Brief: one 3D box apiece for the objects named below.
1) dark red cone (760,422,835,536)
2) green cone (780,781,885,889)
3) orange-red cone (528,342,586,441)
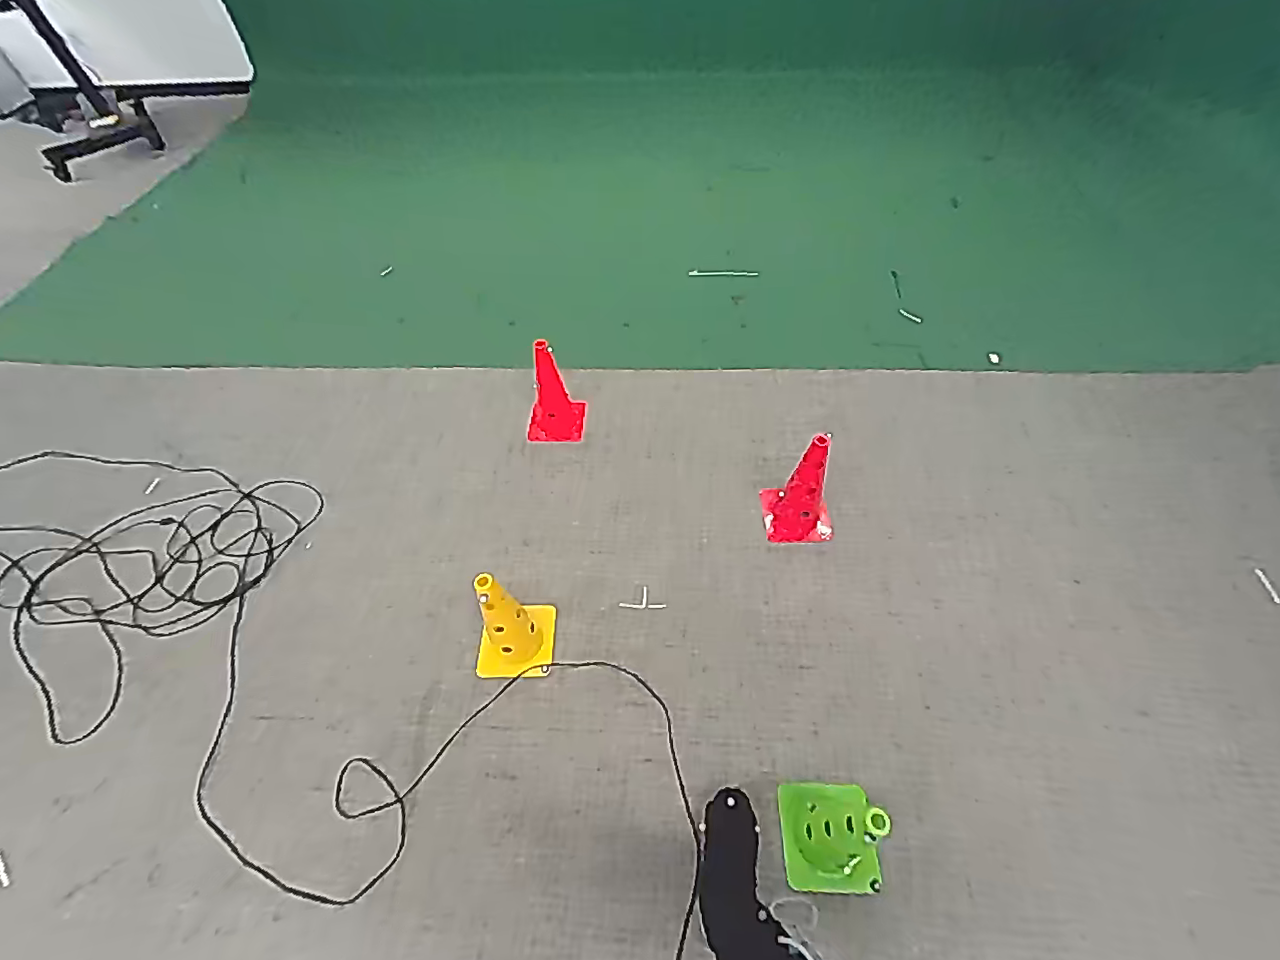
[{"bbox_3d":[0.477,-0.016,1.544,0.202,0.394,0.201,-4,52,0],"label":"dark red cone"},{"bbox_3d":[0.411,0.675,1.059,0.202,0.368,0.200,-1,53,3],"label":"green cone"},{"bbox_3d":[-0.311,-0.317,1.838,0.198,0.360,0.199,0,54,4],"label":"orange-red cone"}]
